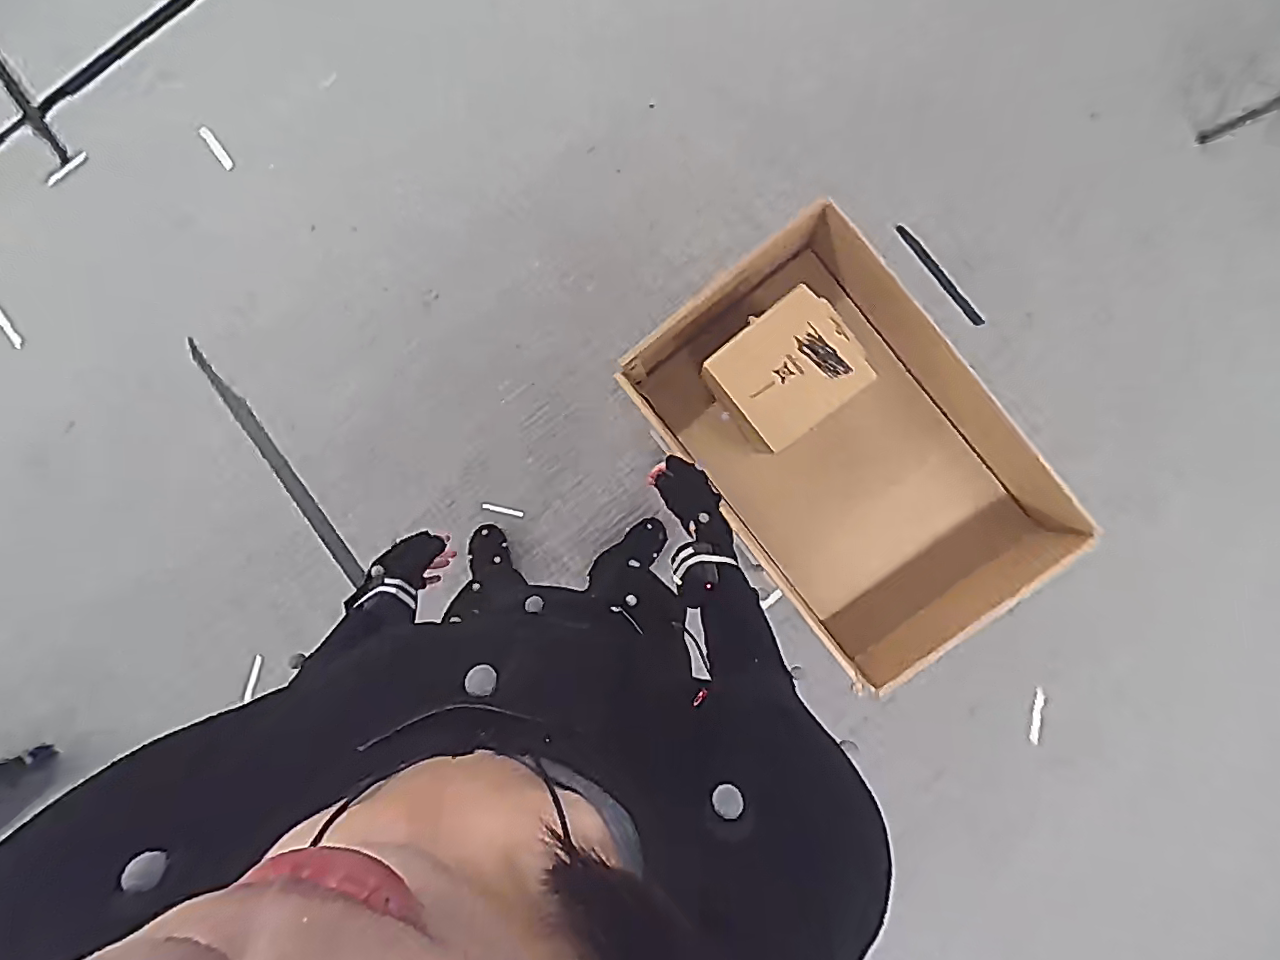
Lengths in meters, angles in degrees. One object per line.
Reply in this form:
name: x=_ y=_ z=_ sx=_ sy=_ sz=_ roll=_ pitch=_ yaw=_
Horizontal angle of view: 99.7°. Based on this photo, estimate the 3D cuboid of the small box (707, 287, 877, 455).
small box: x=0.215 y=-0.154 z=0.823 sx=0.179 sy=0.176 sz=0.168 roll=-38 pitch=88 yaw=6
